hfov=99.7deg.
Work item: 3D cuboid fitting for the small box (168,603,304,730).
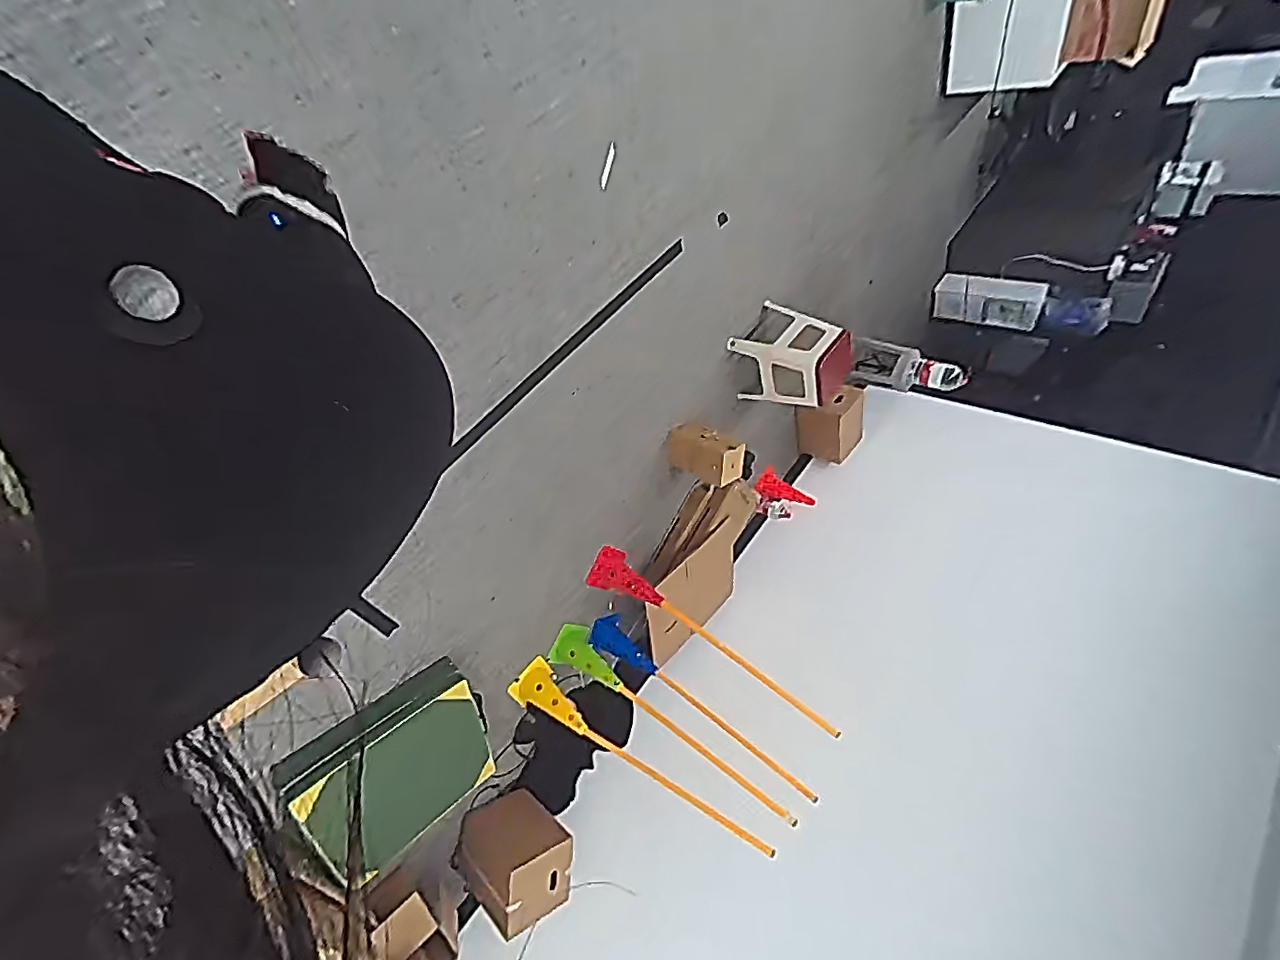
[{"bbox_3d":[-0.914,0.414,1.227,0.179,0.176,0.168,-36,134,-30],"label":"small box"}]
